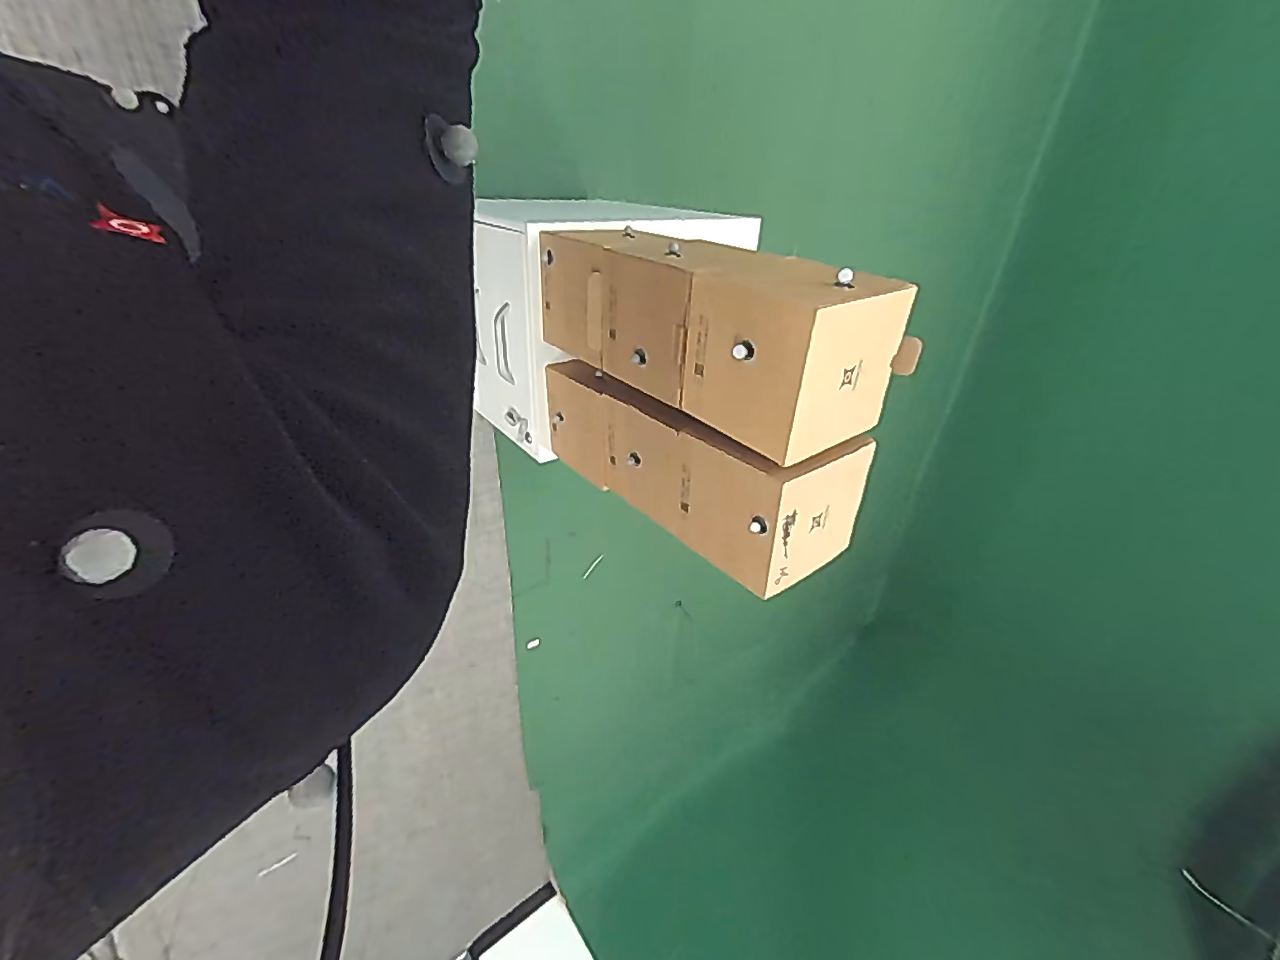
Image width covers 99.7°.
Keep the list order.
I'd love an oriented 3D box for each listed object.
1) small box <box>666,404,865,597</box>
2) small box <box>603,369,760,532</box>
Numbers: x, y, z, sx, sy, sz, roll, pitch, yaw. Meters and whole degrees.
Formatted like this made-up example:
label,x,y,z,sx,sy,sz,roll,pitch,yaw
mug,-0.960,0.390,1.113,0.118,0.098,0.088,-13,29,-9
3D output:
label,x,y,z,sx,sy,sz,roll,pitch,yaw
small box,0.156,0.014,0.708,0.179,0.176,0.168,-22,127,-34
small box,0.054,-0.054,0.816,0.179,0.176,0.168,-24,129,-32
